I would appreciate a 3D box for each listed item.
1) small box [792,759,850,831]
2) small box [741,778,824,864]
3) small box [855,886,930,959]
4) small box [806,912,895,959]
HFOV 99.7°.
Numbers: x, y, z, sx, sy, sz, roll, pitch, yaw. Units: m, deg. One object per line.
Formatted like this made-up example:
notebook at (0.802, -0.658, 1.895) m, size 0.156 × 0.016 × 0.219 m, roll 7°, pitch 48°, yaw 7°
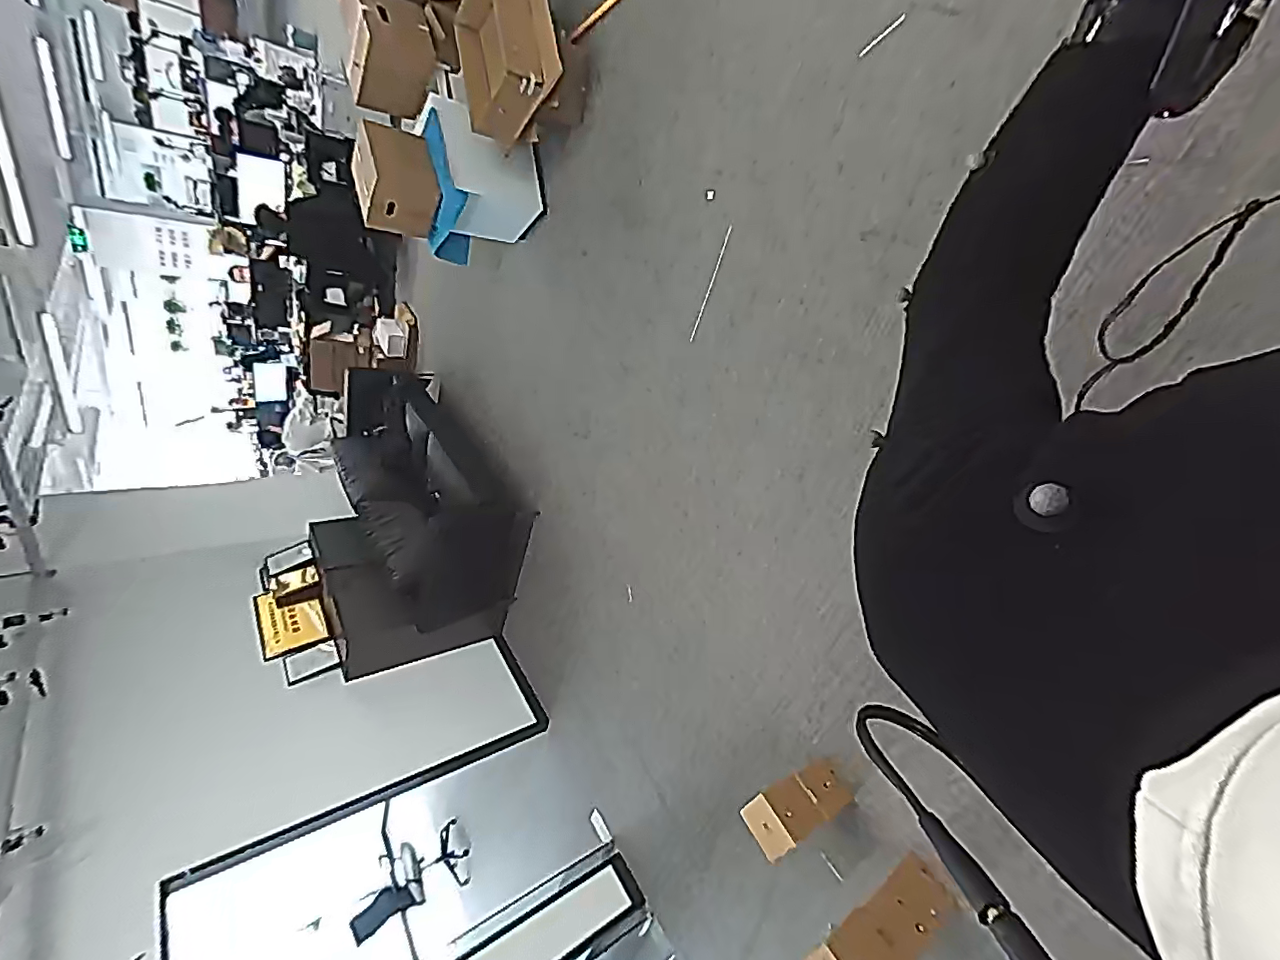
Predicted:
small box at (0.621, 1.140, 1.939) m, size 0.168 × 0.176 × 0.179 m, roll 54°, pitch 132°, yaw 33°
small box at (0.487, 1.155, 1.848) m, size 0.179 × 0.176 × 0.168 m, roll 51°, pitch 132°, yaw 33°
small box at (0.715, 1.349, 1.589) m, size 0.168 × 0.176 × 0.179 m, roll 45°, pitch 129°, yaw 39°
small box at (0.586, 1.351, 1.485) m, size 0.179 × 0.176 × 0.168 m, roll 46°, pitch 128°, yaw 38°
